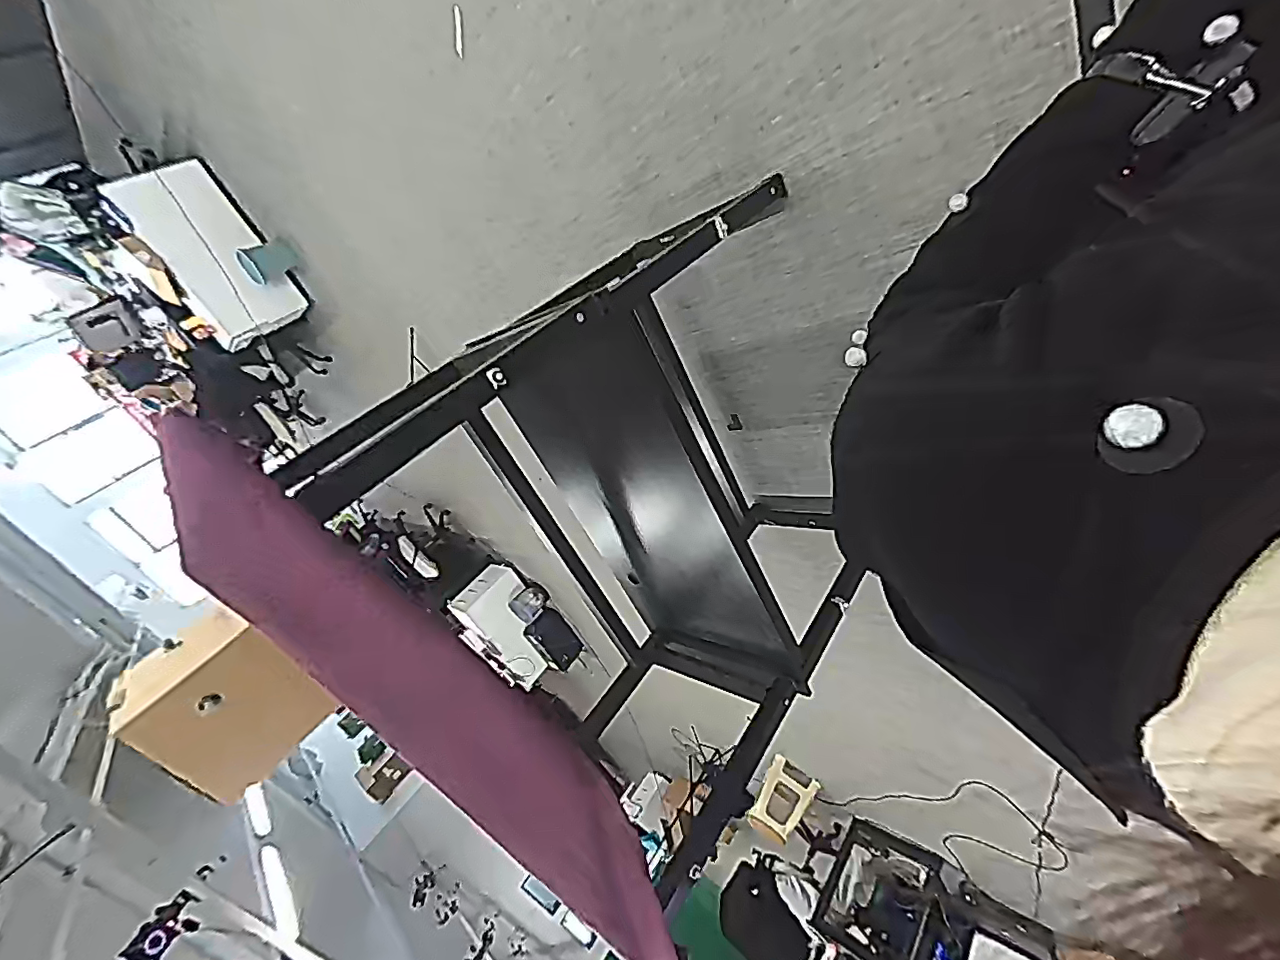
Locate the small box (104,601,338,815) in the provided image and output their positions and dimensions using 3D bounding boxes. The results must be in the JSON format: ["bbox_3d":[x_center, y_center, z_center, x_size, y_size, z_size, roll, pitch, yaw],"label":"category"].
[{"bbox_3d":[-0.553,0.291,0.725,0.168,0.176,0.179,8,135,45],"label":"small box"}]
